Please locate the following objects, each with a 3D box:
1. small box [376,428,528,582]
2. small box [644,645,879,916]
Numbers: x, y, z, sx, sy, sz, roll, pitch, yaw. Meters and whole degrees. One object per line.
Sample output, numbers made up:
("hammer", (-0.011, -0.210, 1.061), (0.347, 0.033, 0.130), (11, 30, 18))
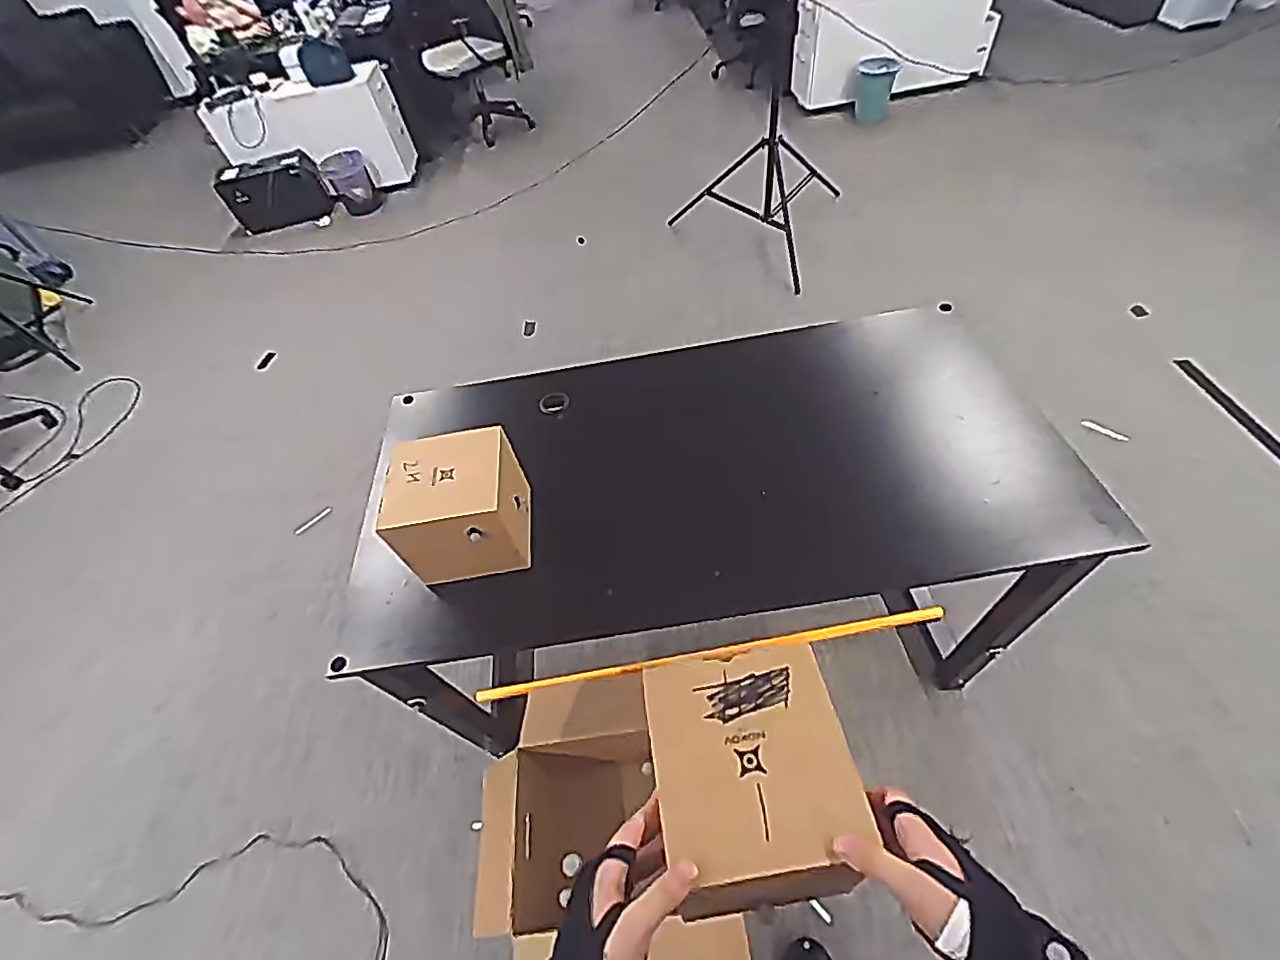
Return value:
("small box", (-0.282, 0.044, 0.860), (0.179, 0.176, 0.168), (-10, 51, 1))
("small box", (0.099, 0.289, 0.521), (0.168, 0.176, 0.179), (-10, 45, 0))
